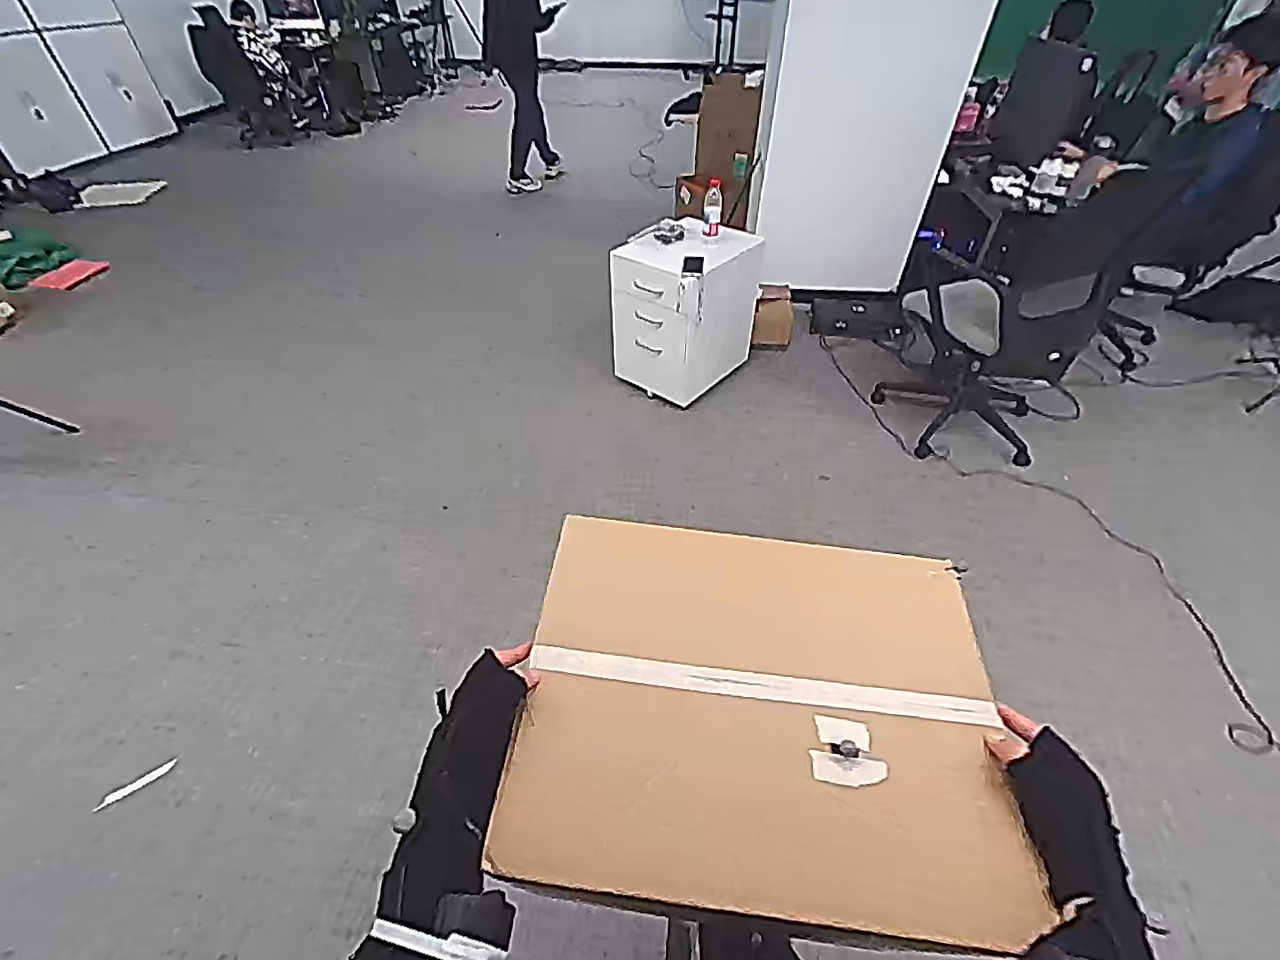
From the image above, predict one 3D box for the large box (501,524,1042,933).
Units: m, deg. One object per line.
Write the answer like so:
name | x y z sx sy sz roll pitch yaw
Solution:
large box | 0.098 0.278 0.598 0.408 0.320 0.320 7 52 2
